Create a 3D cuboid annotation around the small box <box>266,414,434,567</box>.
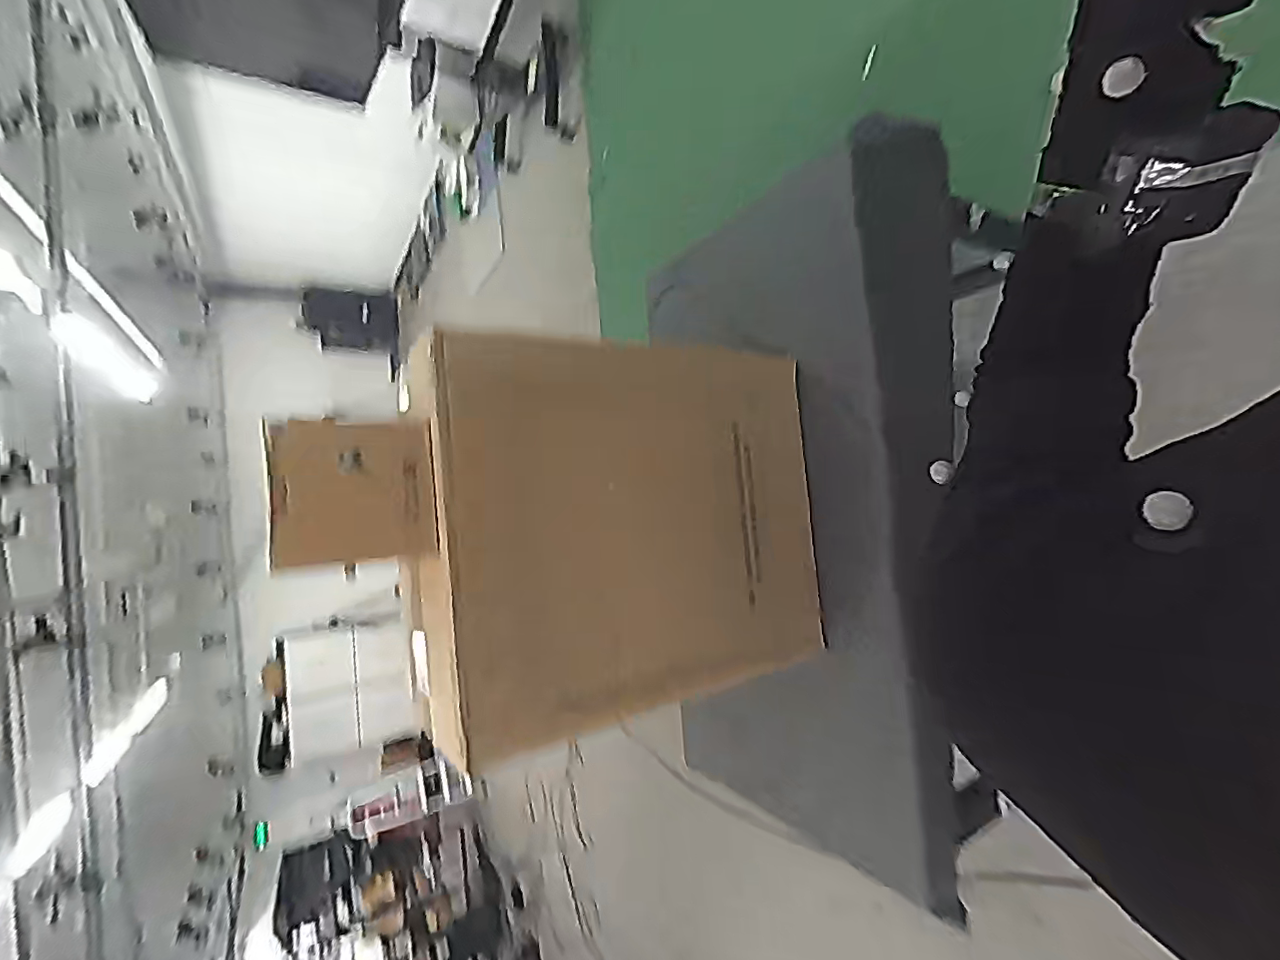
[{"bbox_3d":[-0.359,0.012,0.676,0.179,0.176,0.168,-9,84,57],"label":"small box"}]
